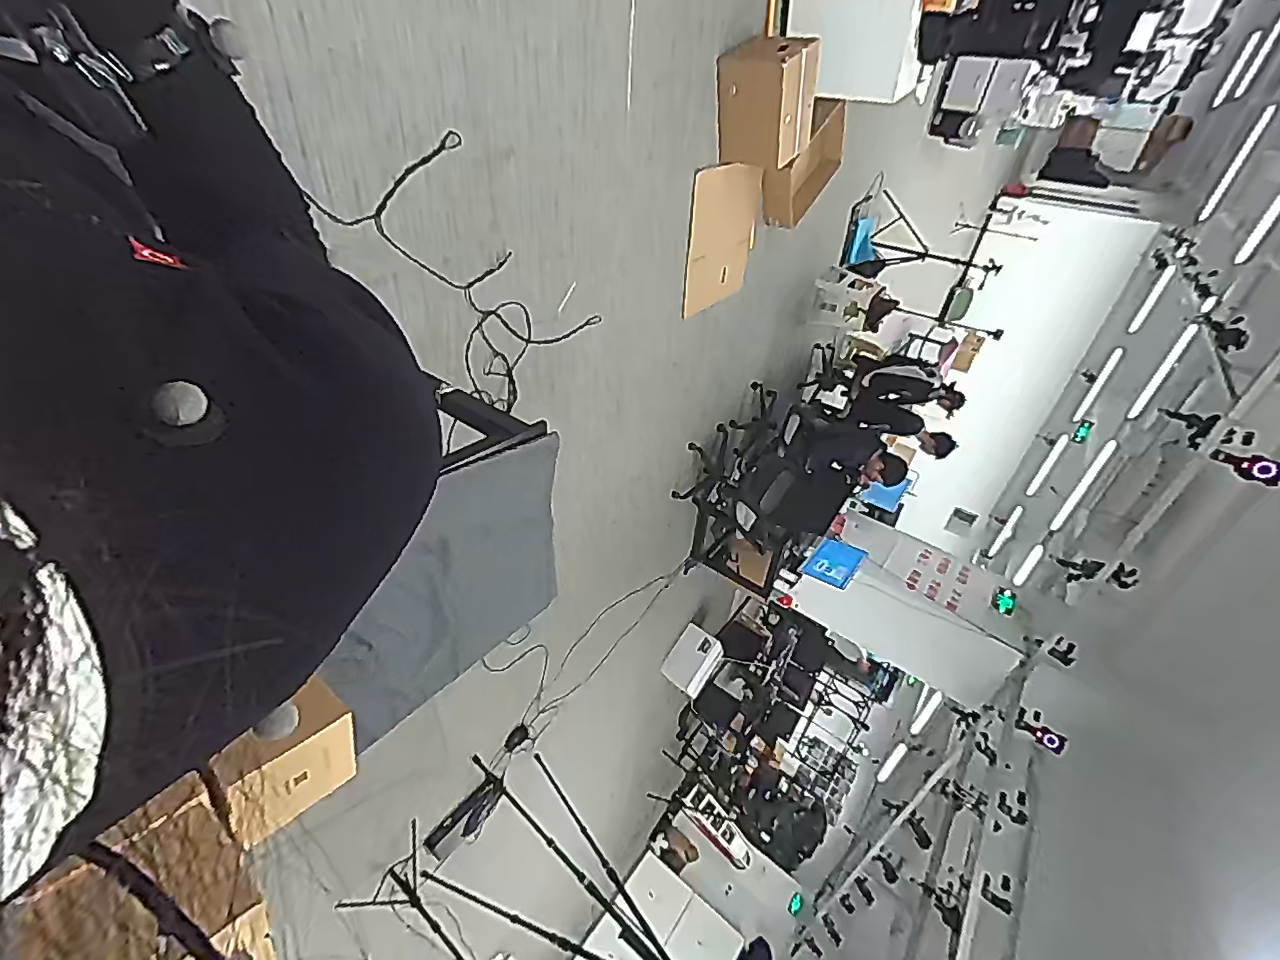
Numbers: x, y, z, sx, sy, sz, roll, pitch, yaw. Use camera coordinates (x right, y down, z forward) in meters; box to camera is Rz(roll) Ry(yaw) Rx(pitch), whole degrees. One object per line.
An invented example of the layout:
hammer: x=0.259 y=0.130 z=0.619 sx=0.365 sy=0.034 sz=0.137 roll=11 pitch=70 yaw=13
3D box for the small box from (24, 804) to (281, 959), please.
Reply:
small box: x=-0.568 y=0.541 z=0.645 sx=0.179 sy=0.176 sz=0.168 roll=-23 pitch=133 yaw=-49
